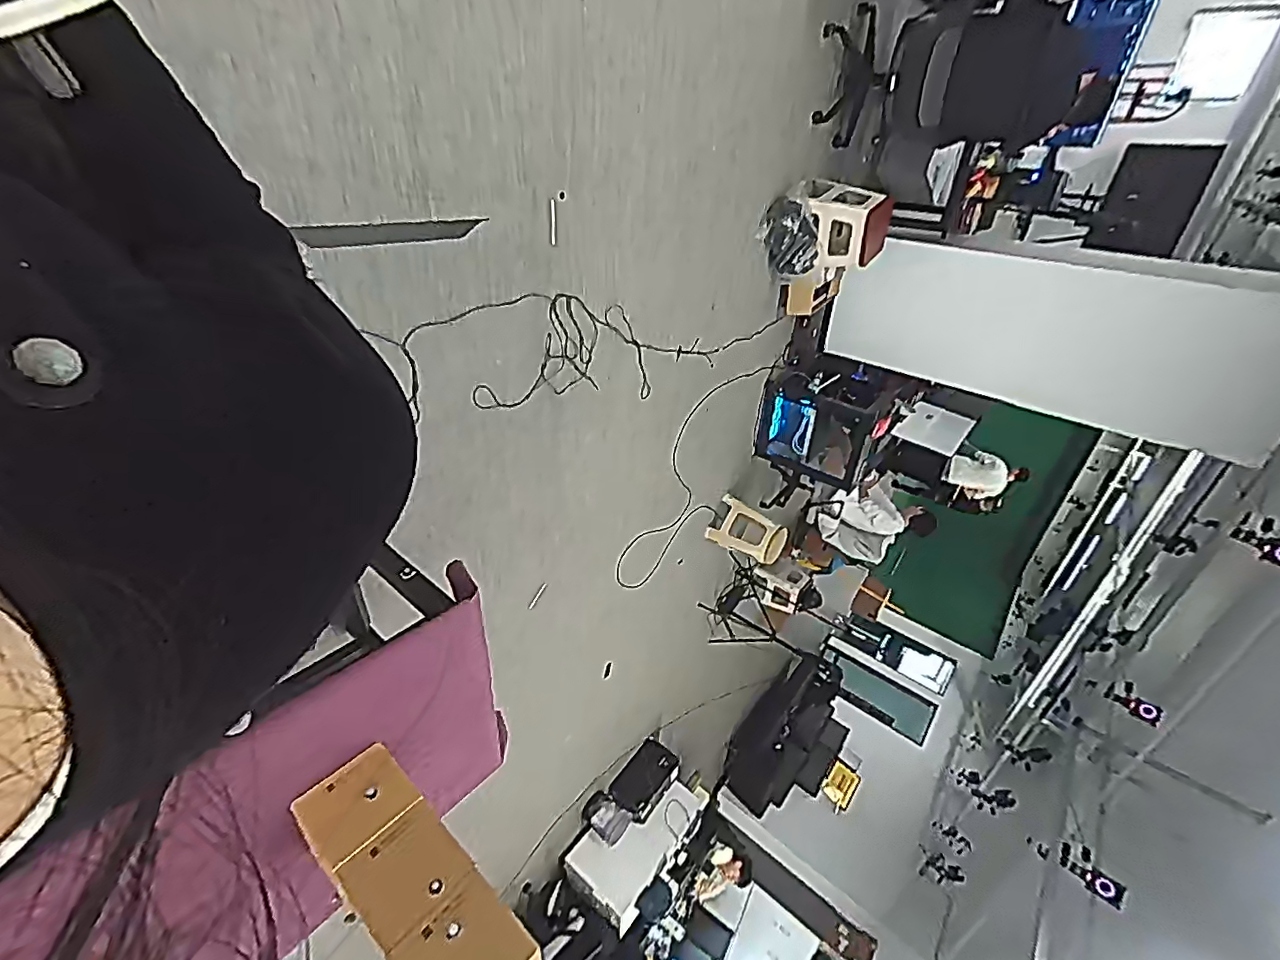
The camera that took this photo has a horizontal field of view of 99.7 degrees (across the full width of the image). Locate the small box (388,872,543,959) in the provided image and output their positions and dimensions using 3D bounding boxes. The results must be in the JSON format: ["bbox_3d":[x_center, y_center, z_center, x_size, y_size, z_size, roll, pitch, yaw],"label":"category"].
[{"bbox_3d":[-0.272,0.780,0.858,0.168,0.176,0.179,-30,135,-43],"label":"small box"}]

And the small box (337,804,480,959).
[{"bbox_3d":[-0.397,0.718,0.947,0.168,0.176,0.179,-31,137,-43],"label":"small box"}]

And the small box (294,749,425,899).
[{"bbox_3d":[-0.523,0.651,1.028,0.168,0.176,0.179,-30,136,-43],"label":"small box"}]
